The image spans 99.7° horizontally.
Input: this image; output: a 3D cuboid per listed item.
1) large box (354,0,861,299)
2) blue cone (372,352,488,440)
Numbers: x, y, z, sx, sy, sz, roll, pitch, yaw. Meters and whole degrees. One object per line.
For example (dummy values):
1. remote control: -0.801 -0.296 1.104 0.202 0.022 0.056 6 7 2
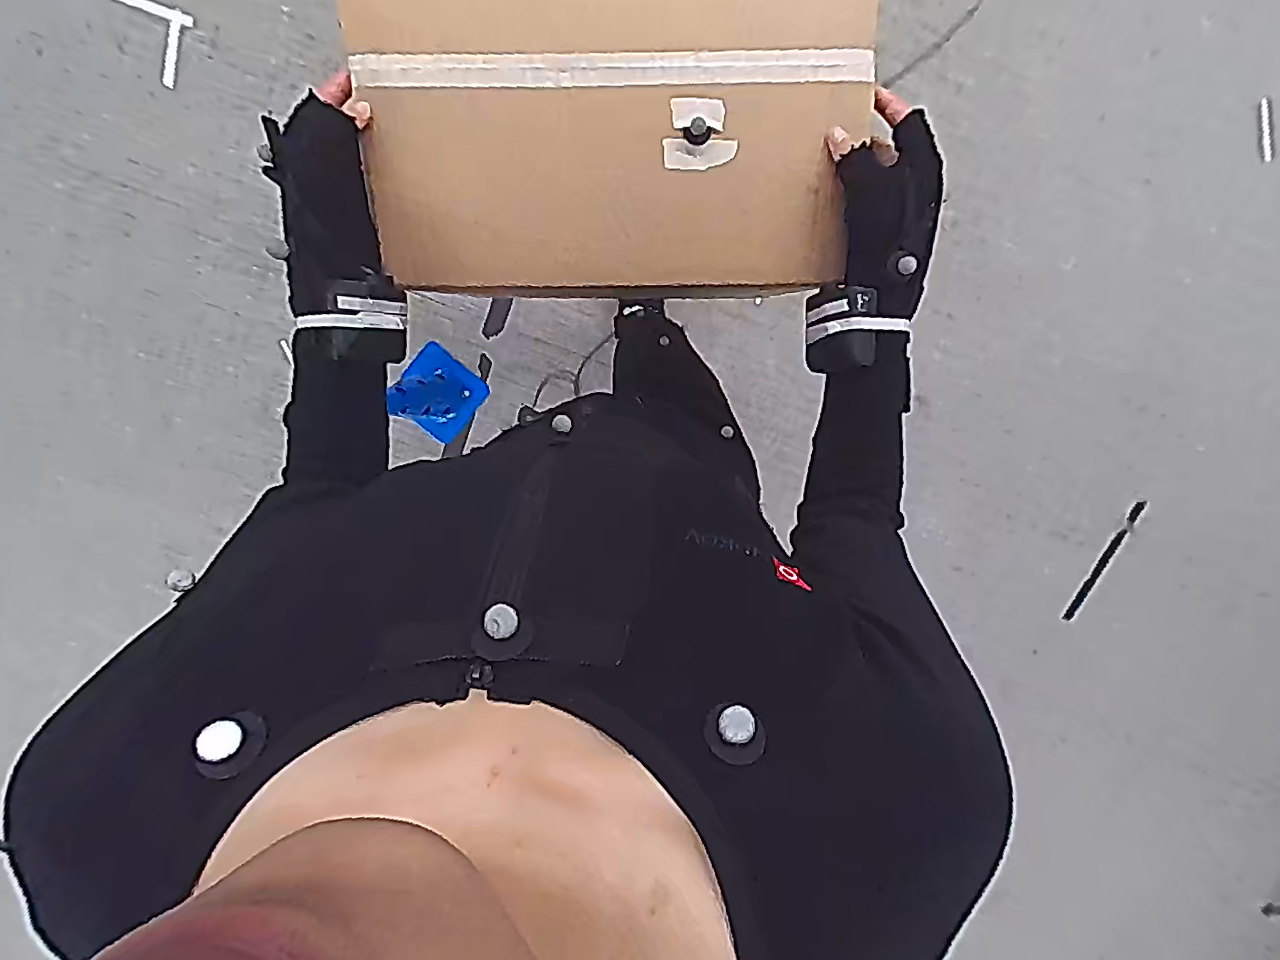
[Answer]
1. large box: -0.027 -0.369 0.576 0.408 0.320 0.320 -1 106 0
2. blue cone: -0.518 -0.184 1.269 0.193 0.380 0.192 42 100 -9
